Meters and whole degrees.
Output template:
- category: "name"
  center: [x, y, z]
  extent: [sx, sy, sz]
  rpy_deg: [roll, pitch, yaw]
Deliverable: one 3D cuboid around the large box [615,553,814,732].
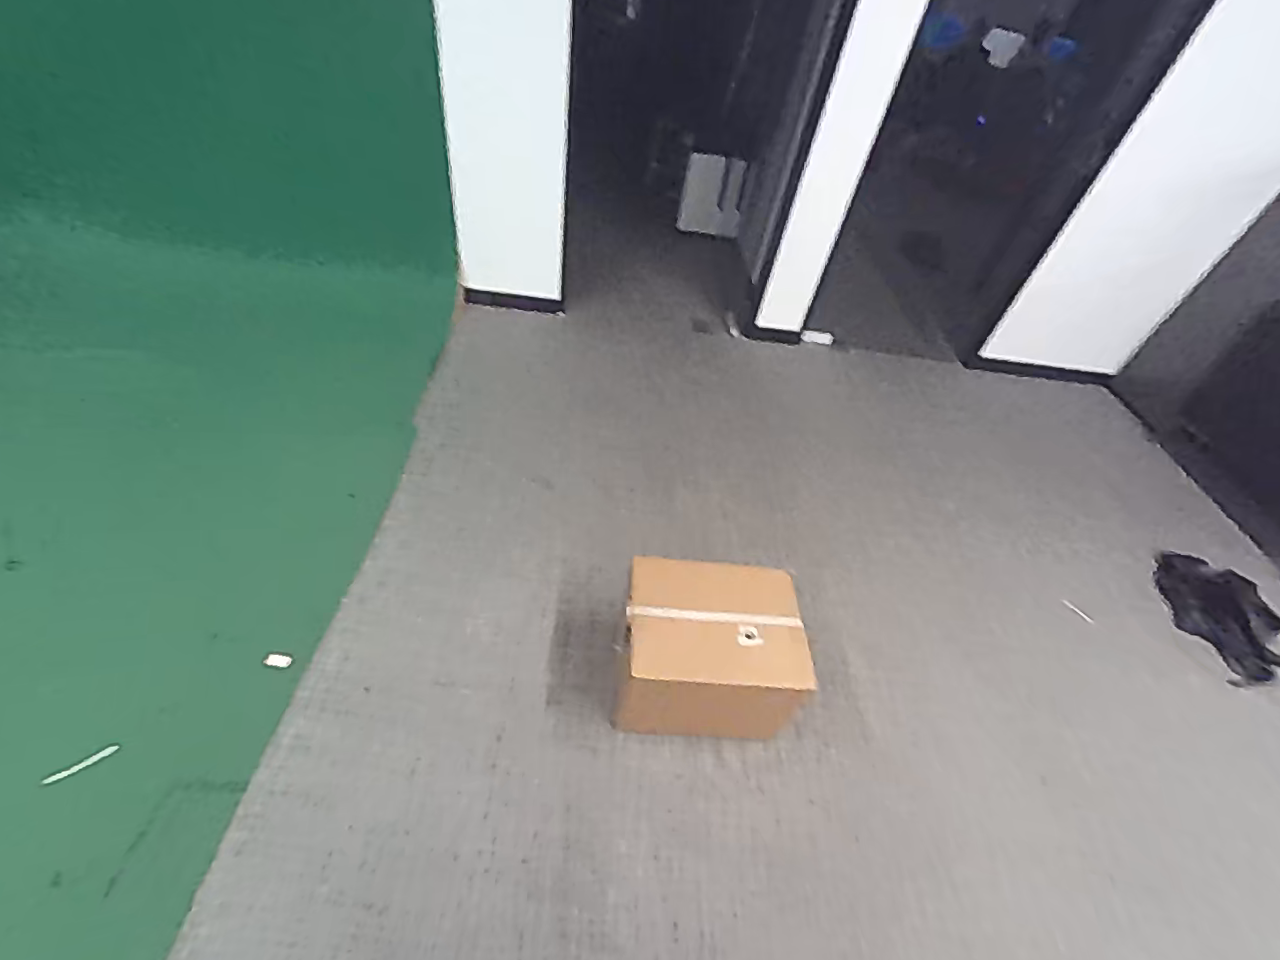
- category: "large box"
  center: [0.153, 0.410, 1.346]
  extent: [0.408, 0.320, 0.320]
  rpy_deg: [7, 46, -7]
